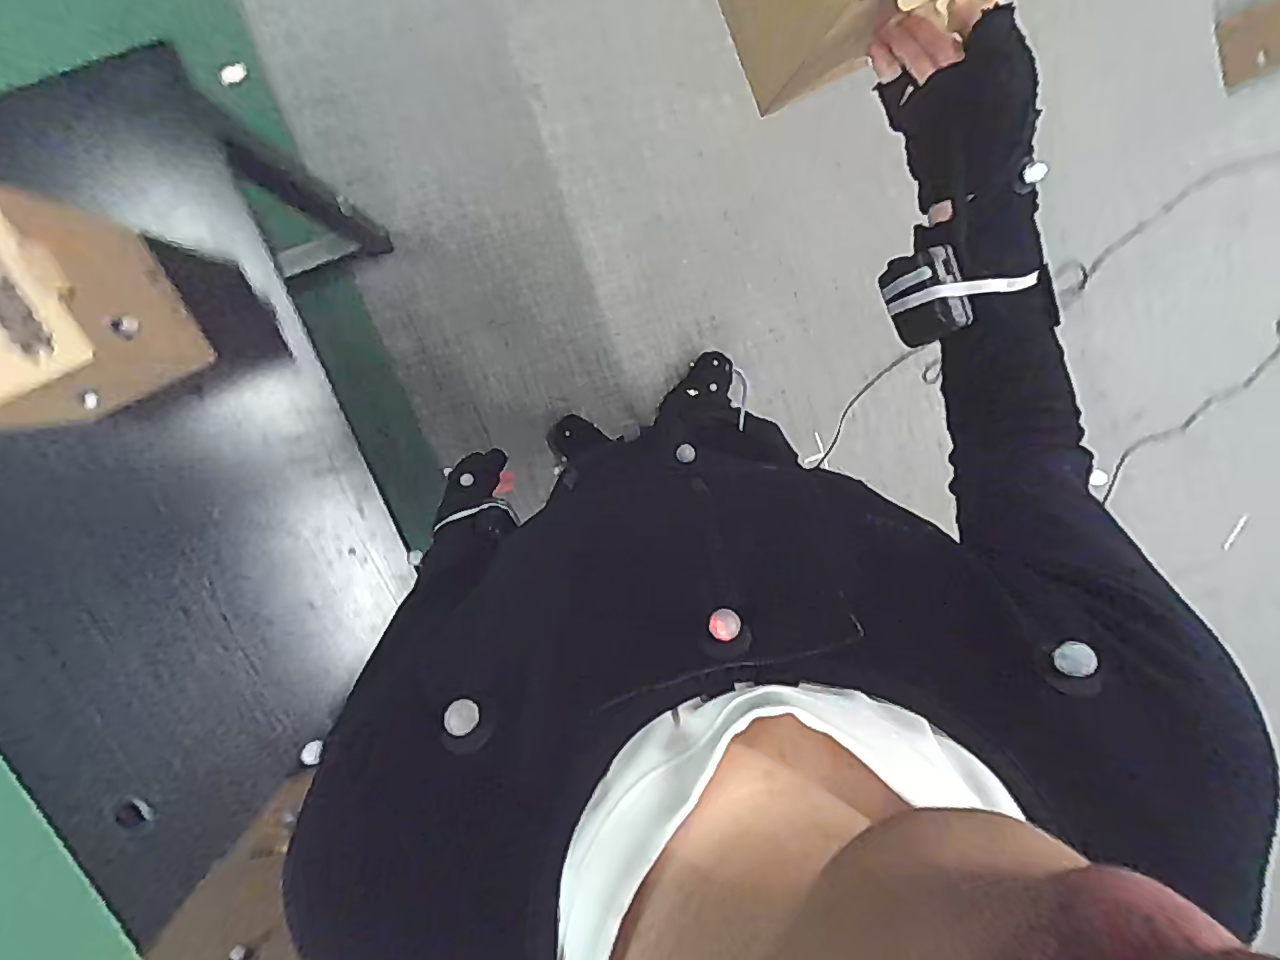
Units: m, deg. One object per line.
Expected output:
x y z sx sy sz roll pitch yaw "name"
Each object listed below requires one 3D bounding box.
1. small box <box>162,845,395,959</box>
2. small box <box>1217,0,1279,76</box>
-0.368 0.512 0.548 0.179 0.176 0.168 -8 100 -4 "small box"
1.617 -1.155 1.348 0.168 0.176 0.179 -26 101 -1 "small box"
